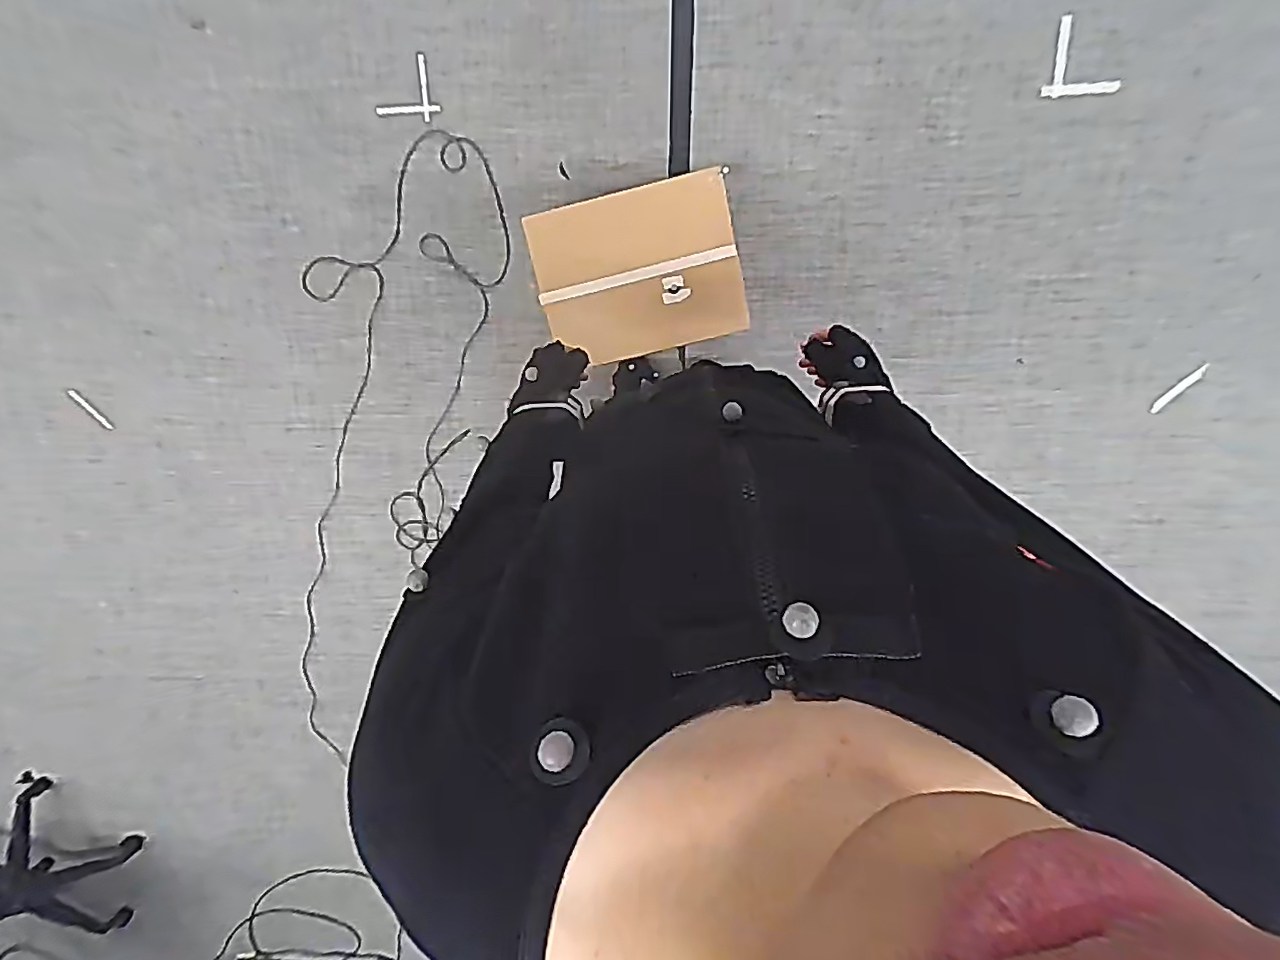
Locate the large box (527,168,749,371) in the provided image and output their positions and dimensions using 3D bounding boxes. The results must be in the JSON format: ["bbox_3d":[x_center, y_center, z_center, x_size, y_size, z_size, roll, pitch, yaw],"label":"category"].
[{"bbox_3d":[0.003,-0.451,1.241,0.408,0.320,0.320,-13,103,4],"label":"large box"}]
